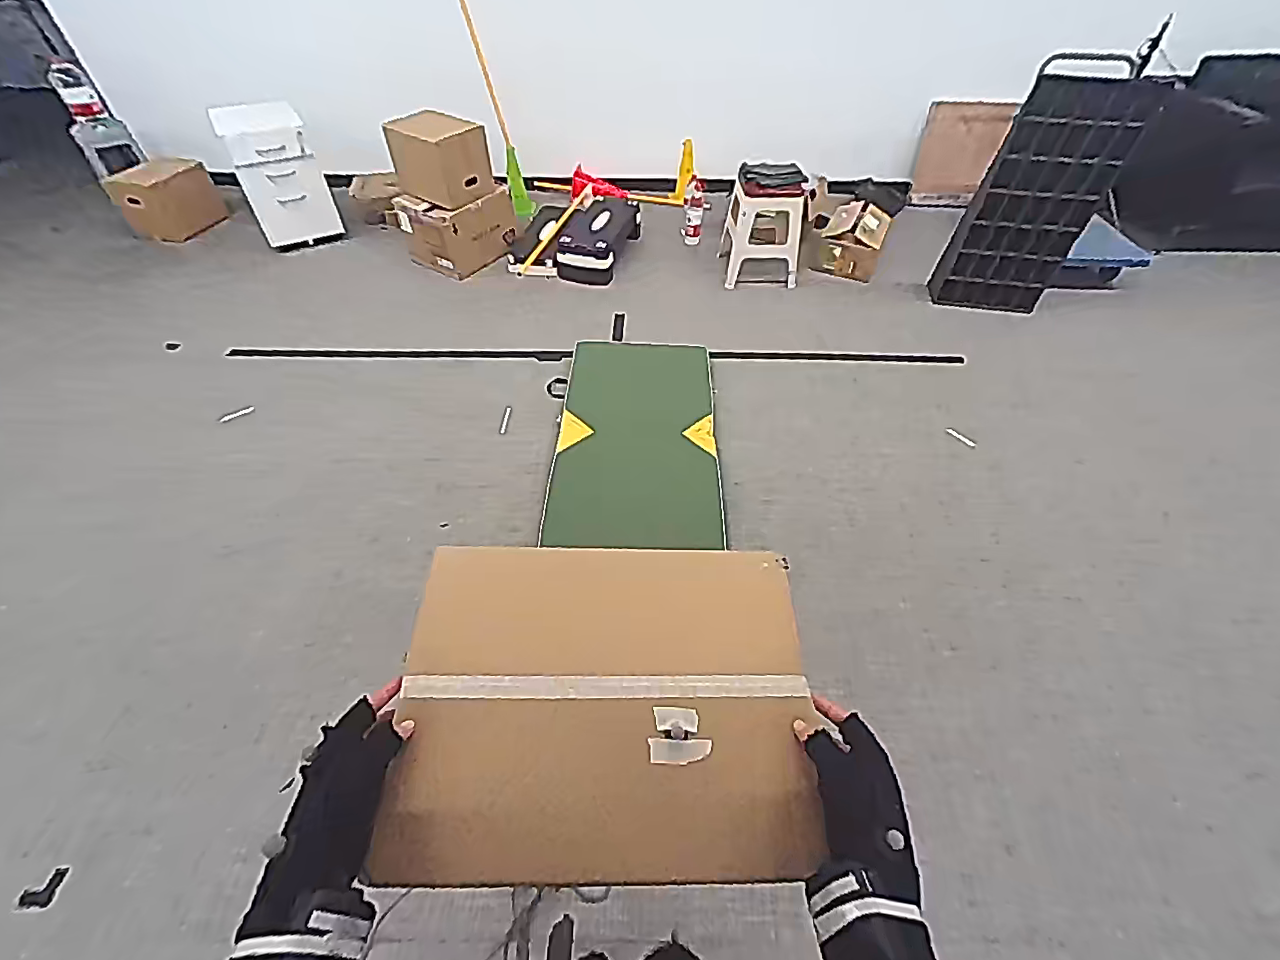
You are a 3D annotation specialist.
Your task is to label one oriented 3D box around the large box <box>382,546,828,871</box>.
[{"bbox_3d":[-0.040,0.294,0.680,0.408,0.320,0.320,2,54,-3],"label":"large box"}]
